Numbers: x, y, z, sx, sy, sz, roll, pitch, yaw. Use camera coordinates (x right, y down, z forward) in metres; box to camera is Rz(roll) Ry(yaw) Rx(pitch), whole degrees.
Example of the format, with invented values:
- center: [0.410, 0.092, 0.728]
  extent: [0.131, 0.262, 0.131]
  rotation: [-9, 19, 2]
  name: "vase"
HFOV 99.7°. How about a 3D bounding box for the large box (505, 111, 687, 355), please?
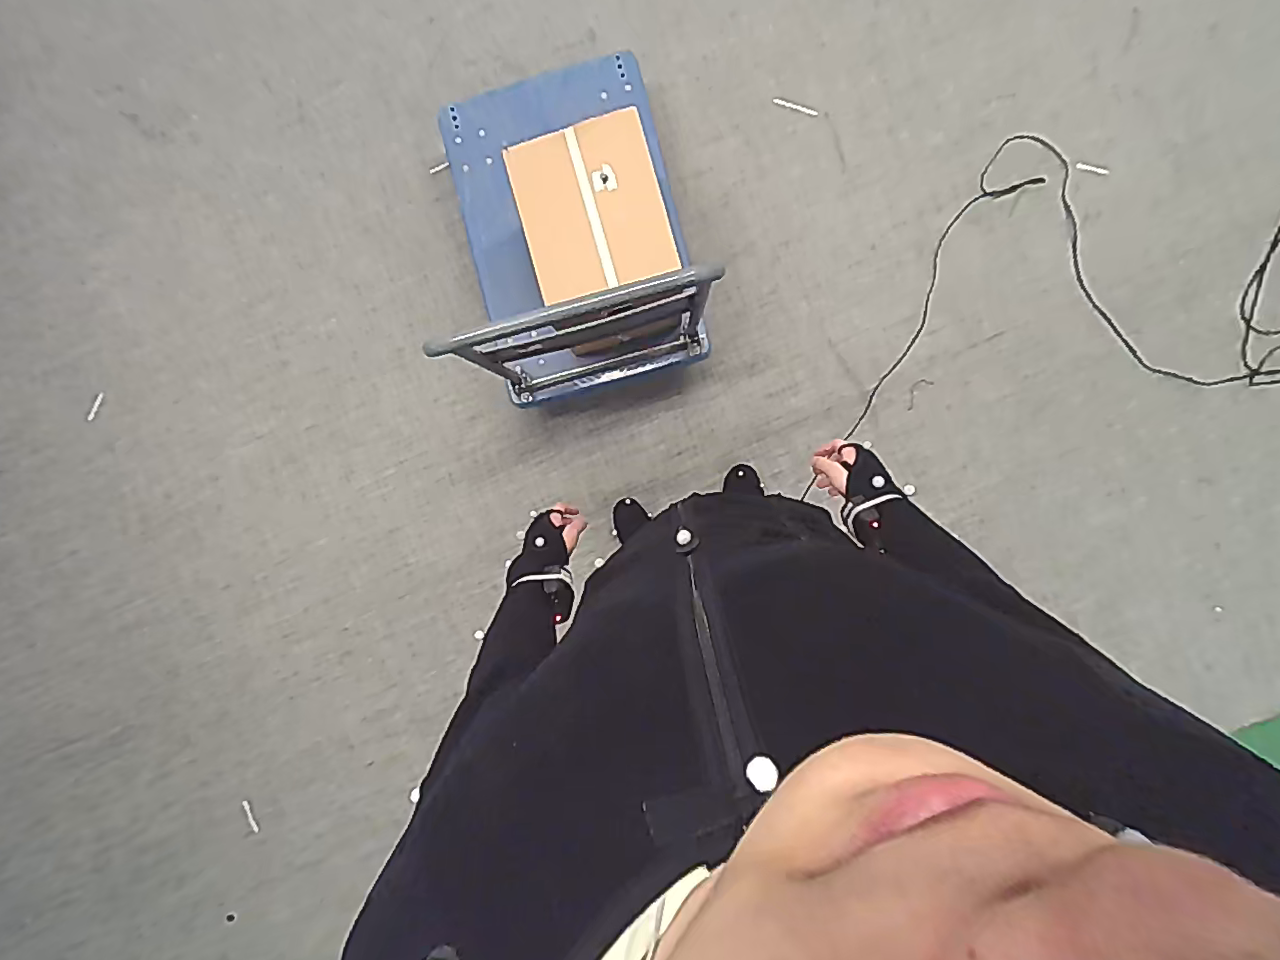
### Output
- center: [-0.089, -0.571, 1.327]
  extent: [0.320, 0.320, 0.408]
  rotation: [-16, 89, 2]
  name: "large box"
